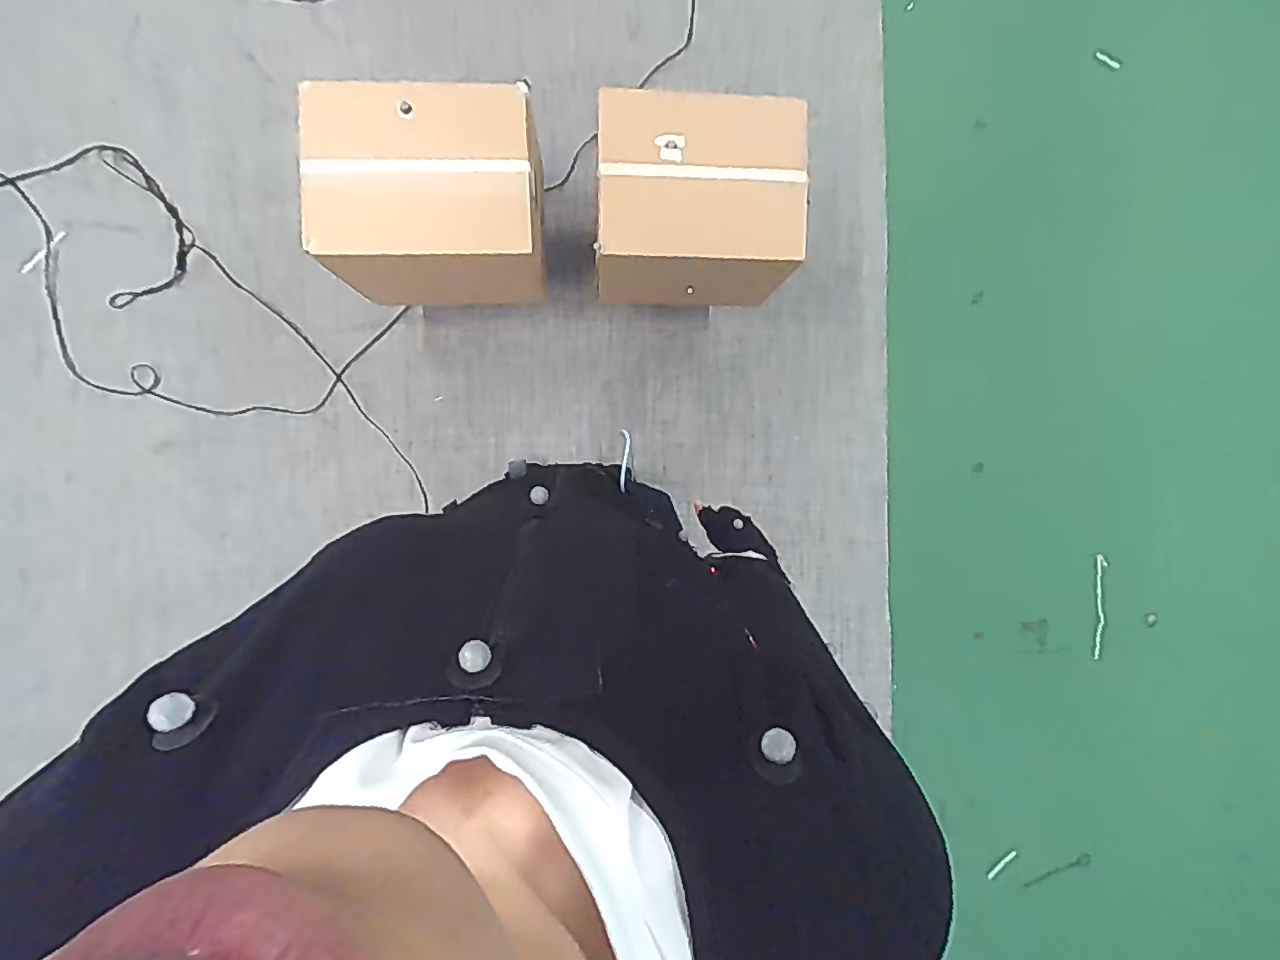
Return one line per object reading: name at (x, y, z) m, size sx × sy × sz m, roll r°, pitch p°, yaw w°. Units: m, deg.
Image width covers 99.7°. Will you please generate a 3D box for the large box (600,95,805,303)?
large box at (0.117, -0.587, 1.193) m, size 0.408 × 0.320 × 0.320 m, roll 0°, pitch 91°, yaw -4°
